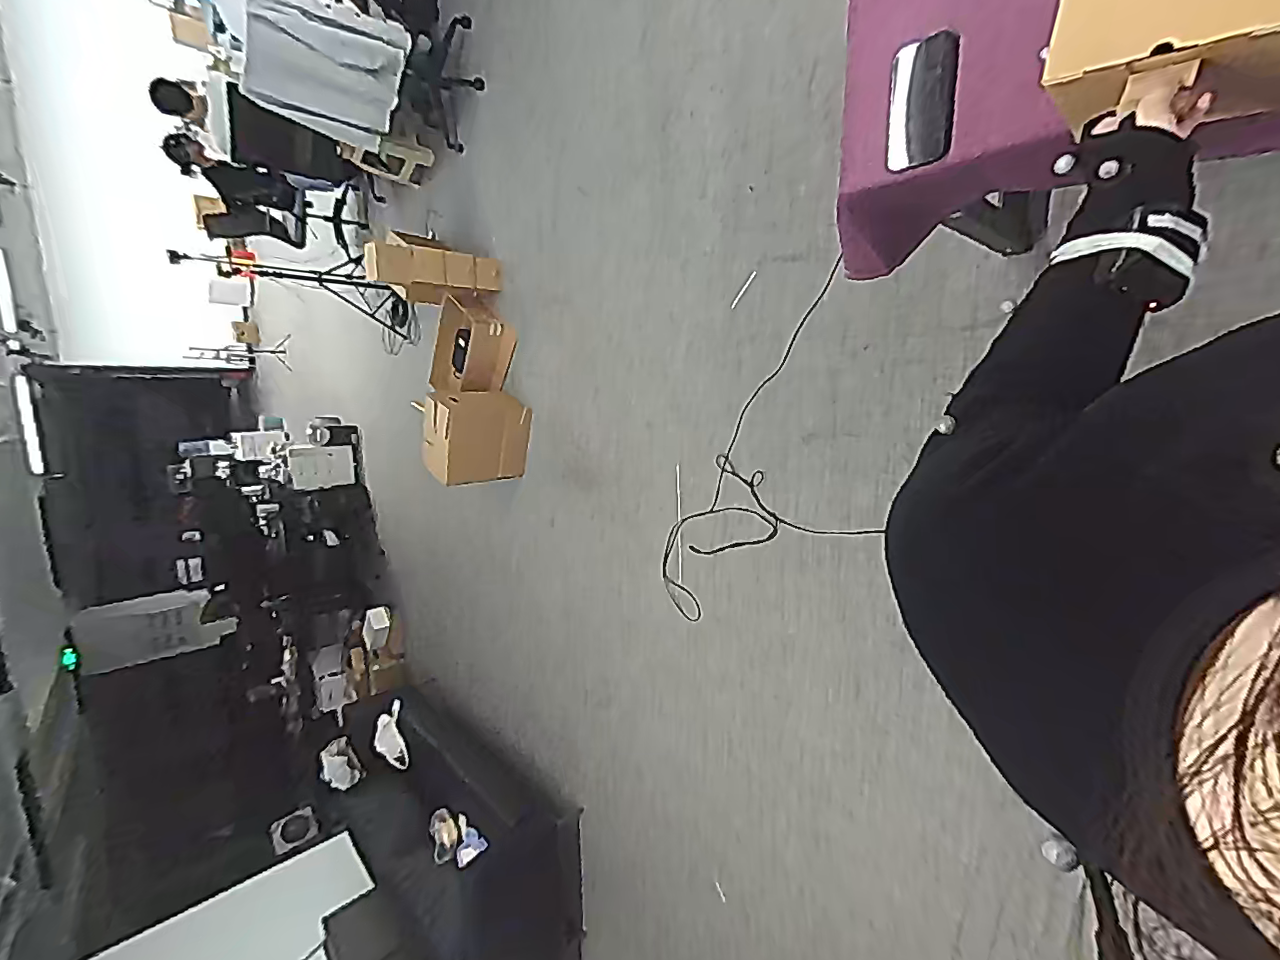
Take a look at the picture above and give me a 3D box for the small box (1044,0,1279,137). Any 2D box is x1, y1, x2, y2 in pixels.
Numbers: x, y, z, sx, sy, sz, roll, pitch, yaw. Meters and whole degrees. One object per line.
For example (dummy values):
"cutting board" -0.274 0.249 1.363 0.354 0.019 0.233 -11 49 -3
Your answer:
"small box" 0.493 -0.438 0.477 0.168 0.176 0.179 20 111 44
